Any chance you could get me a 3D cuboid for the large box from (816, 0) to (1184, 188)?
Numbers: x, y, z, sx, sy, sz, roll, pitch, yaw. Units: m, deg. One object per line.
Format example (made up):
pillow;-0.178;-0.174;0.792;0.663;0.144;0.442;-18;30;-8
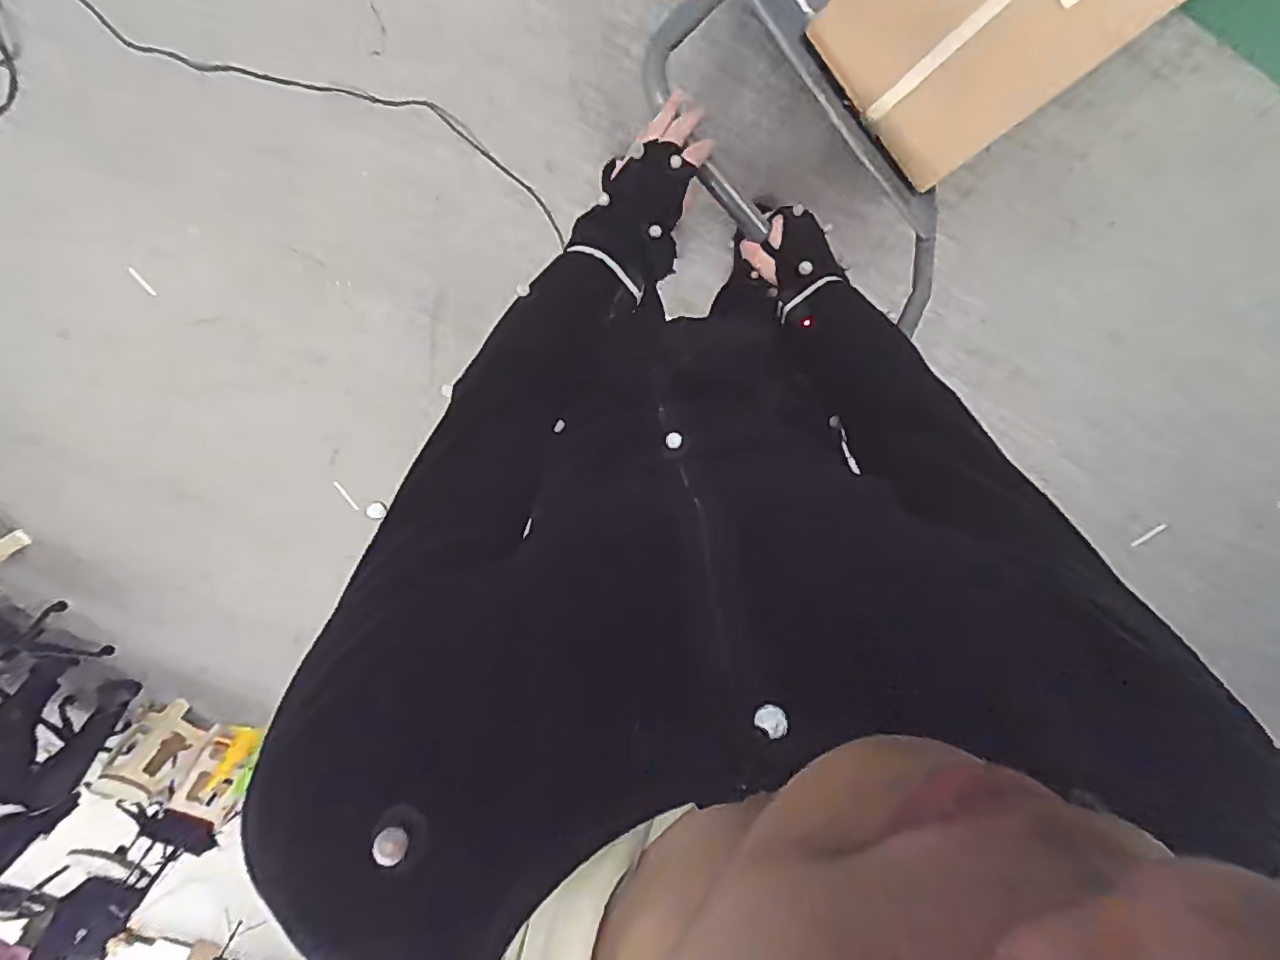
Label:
large box;0.530;-0.741;0.795;0.320;0.320;0.408;40;137;-20
